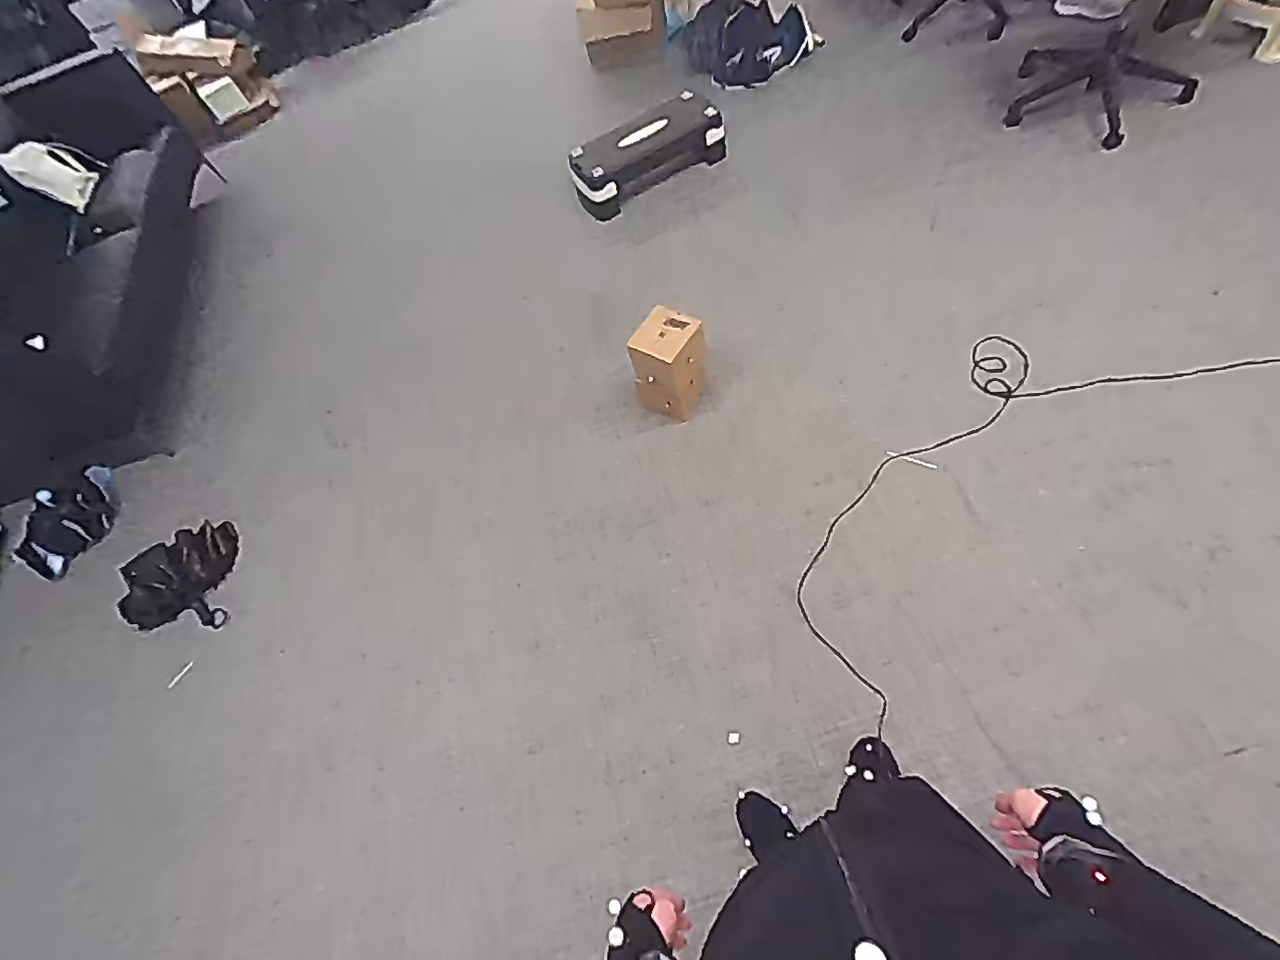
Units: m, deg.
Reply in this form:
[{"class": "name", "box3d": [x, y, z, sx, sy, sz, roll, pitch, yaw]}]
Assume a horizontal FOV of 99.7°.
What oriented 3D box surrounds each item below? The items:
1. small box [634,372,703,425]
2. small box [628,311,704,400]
[{"class": "small box", "box3d": [0.104, -0.314, 1.829, 0.168, 0.176, 0.179, 20, 67, 21]}, {"class": "small box", "box3d": [0.087, -0.383, 1.680, 0.168, 0.176, 0.179, 28, 72, 24]}]
